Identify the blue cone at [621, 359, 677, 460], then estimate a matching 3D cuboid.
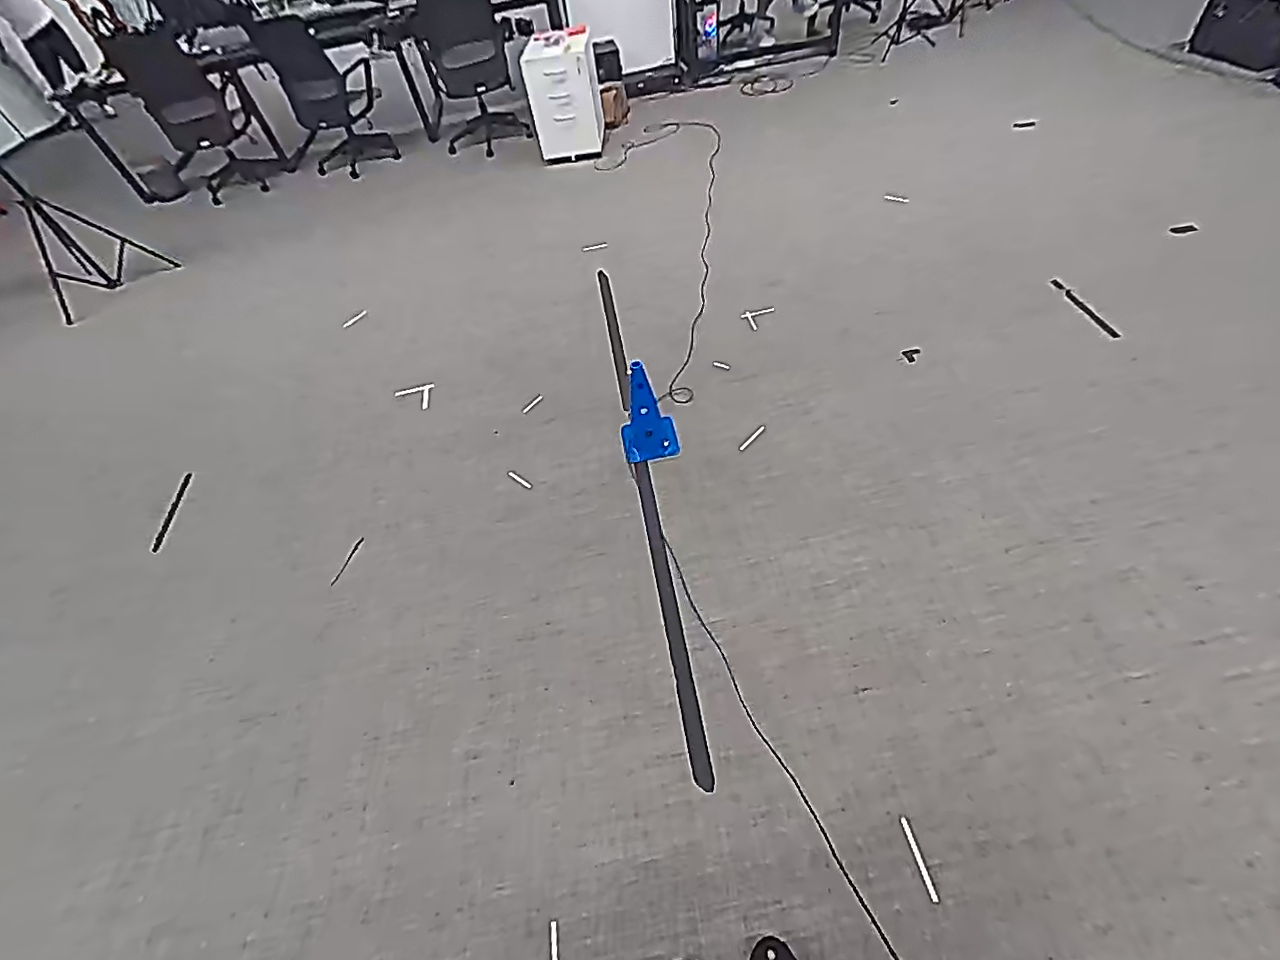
[{"bbox_3d":[0.010,-0.263,1.871,0.193,0.380,0.192,-13,50,-1],"label":"blue cone"}]
